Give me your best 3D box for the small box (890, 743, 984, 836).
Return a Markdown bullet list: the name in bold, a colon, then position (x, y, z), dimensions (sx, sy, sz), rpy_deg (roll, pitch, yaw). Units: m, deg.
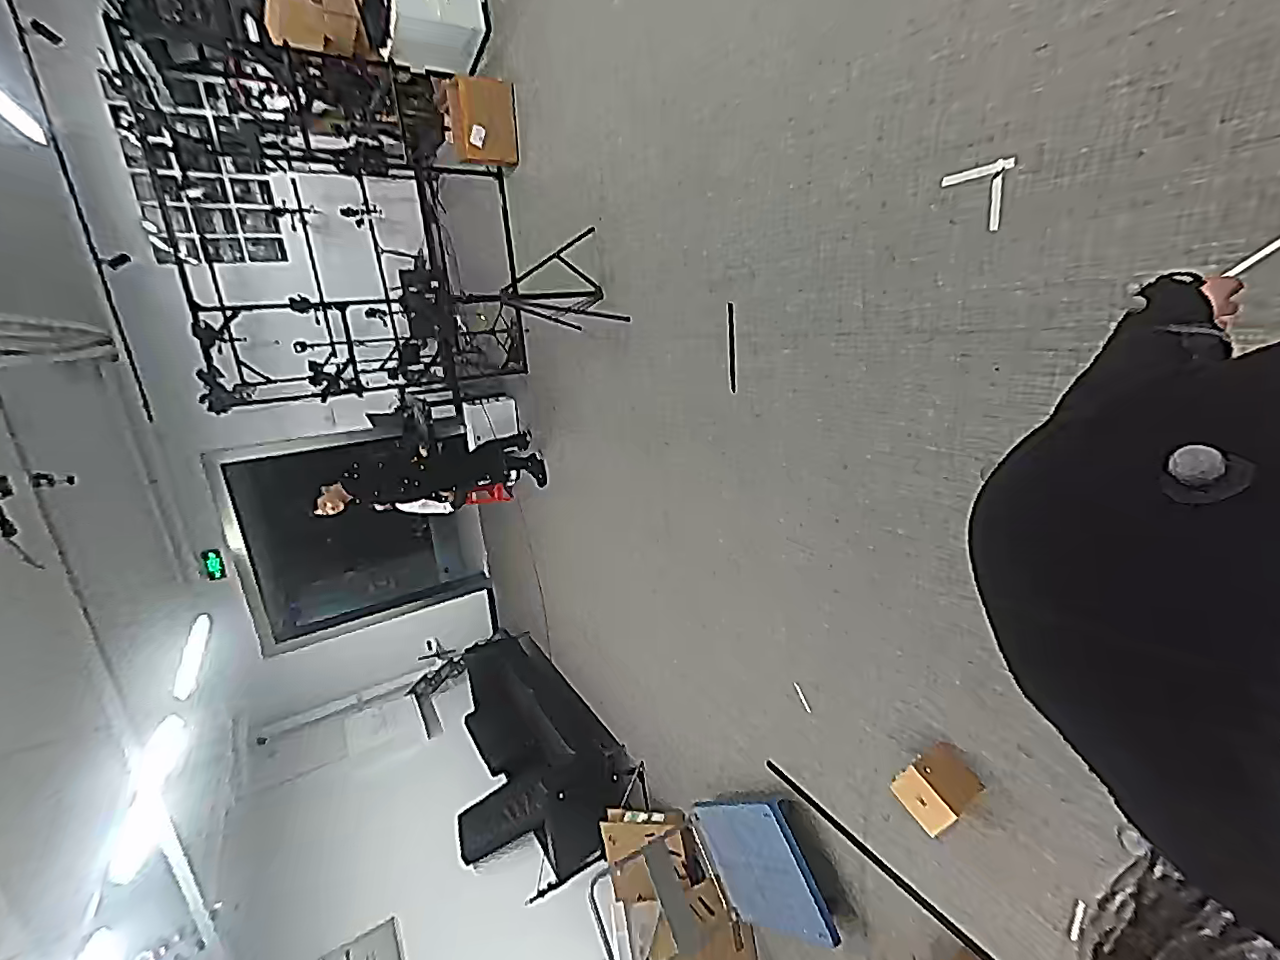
- **small box**: position (0.957, 0.991, 1.741), dimensions (0.179, 0.176, 0.168), rpy_deg (50, 142, 39)
